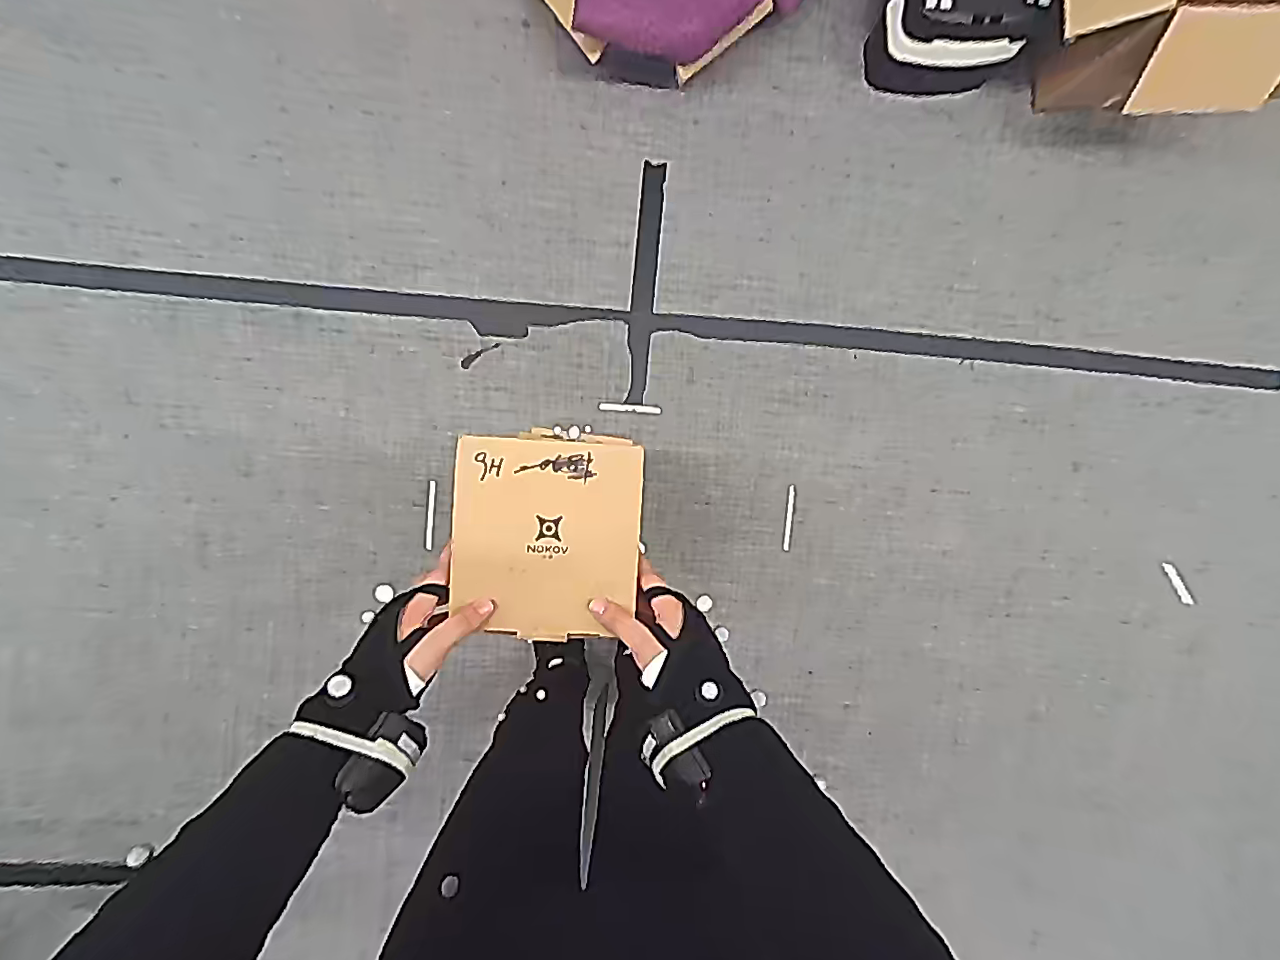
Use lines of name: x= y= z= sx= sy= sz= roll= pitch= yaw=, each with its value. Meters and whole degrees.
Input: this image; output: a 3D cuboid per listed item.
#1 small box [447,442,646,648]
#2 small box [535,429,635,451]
small box: x=-0.087 y=0.054 z=0.551 sx=0.168 sy=0.176 sz=0.179 roll=3 pitch=92 yaw=-5
small box: x=-0.108 y=0.011 z=0.953 sx=0.168 sy=0.176 sz=0.179 roll=8 pitch=93 yaw=-5
